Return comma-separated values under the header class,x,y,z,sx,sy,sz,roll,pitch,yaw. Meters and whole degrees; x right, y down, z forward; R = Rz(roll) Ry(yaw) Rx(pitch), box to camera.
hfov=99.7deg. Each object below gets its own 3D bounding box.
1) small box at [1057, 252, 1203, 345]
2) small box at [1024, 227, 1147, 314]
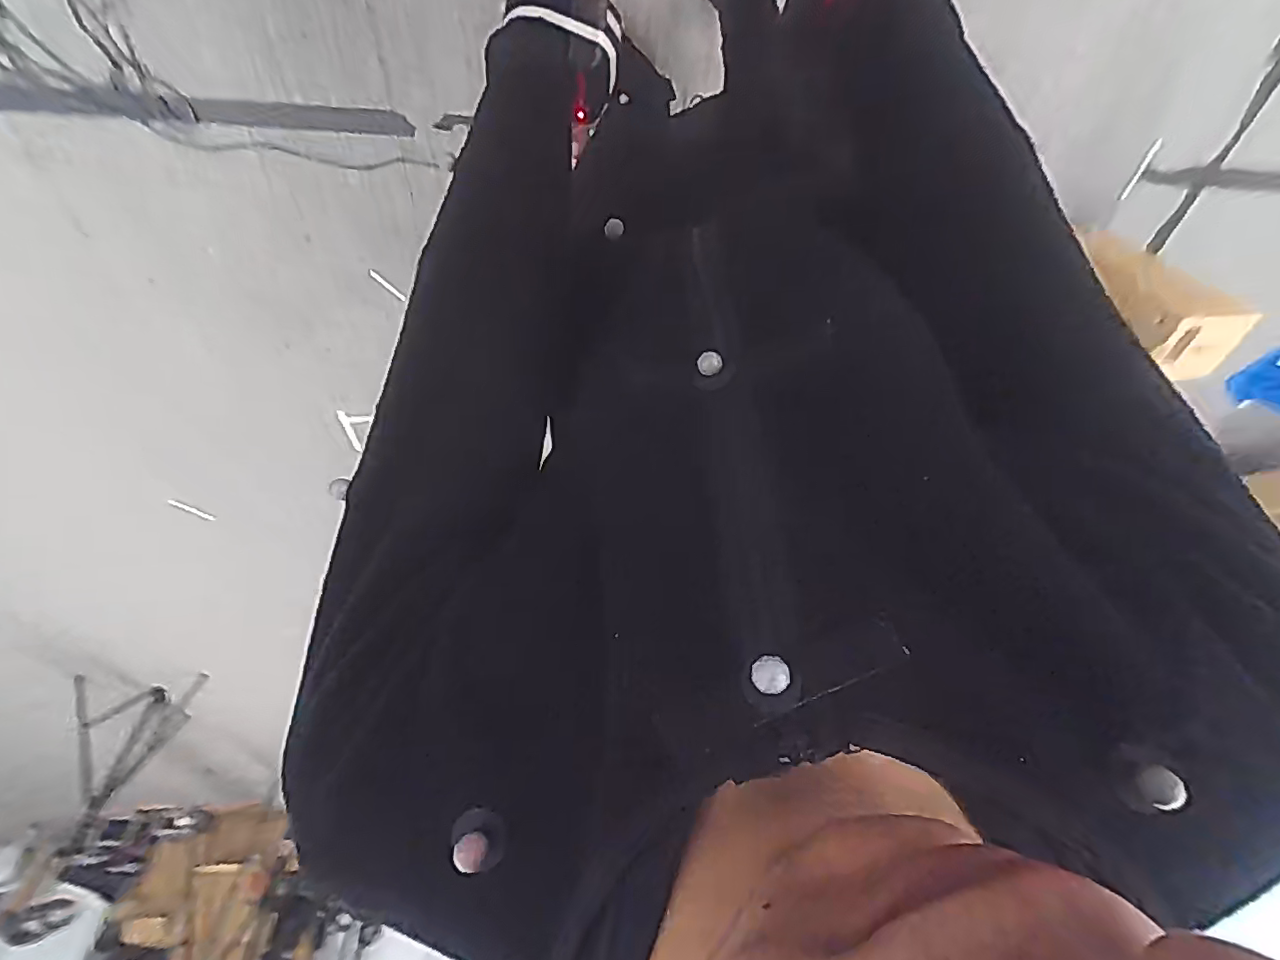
class,x,y,z,sx,sy,sz,roll,pitch,yaw
small box,1.234,-0.464,1.379,0.179,0.176,0.168,1,136,-6
small box,1.212,-0.578,1.493,0.168,0.176,0.179,-2,135,-3
